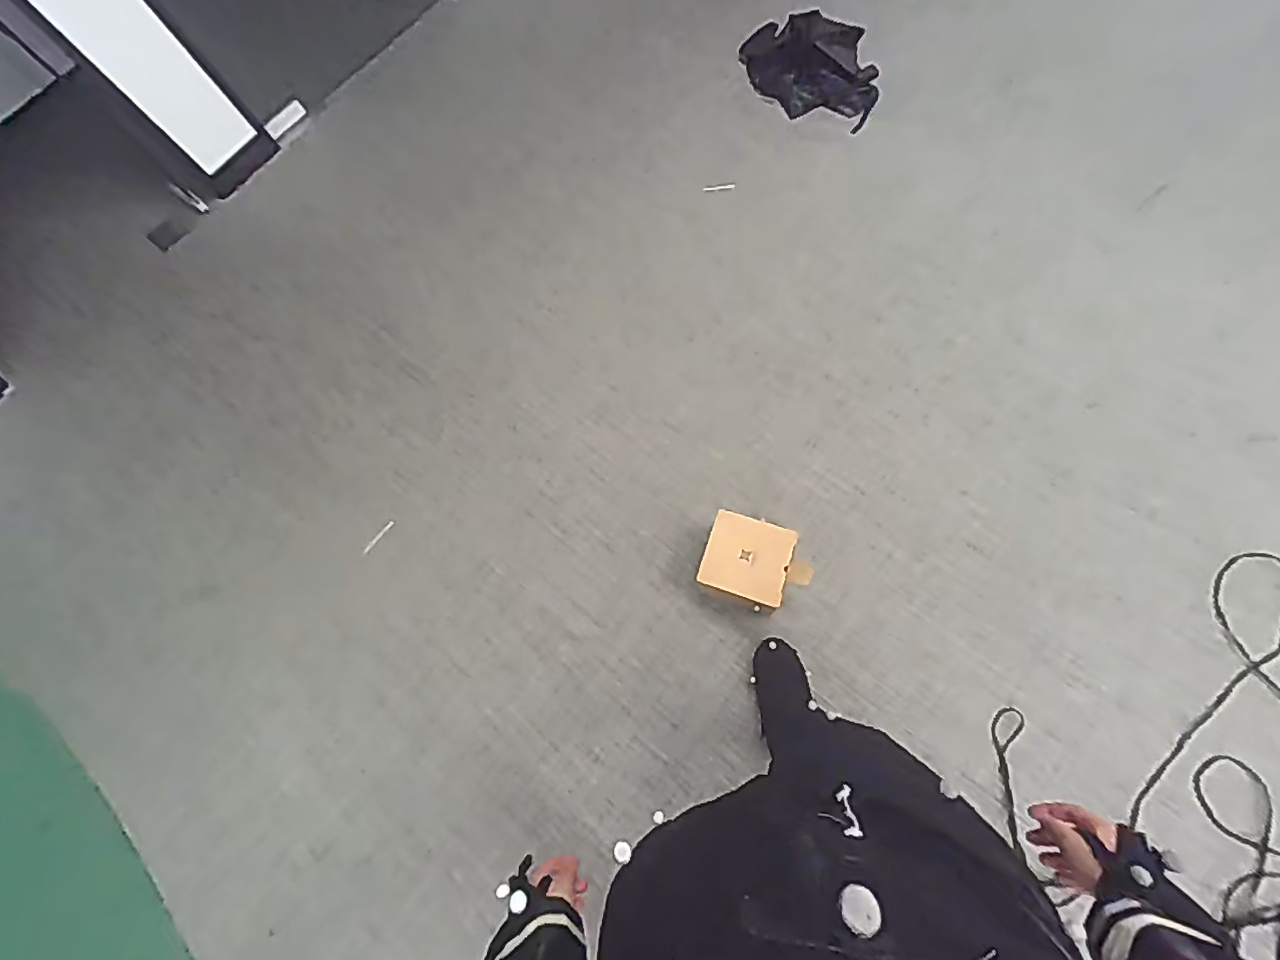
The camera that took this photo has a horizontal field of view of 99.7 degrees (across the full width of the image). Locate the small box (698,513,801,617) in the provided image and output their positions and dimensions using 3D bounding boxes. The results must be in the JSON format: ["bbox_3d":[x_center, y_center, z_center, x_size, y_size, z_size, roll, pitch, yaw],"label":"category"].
[{"bbox_3d":[0.237,0.194,1.190,0.179,0.176,0.168,17,74,13],"label":"small box"}]
